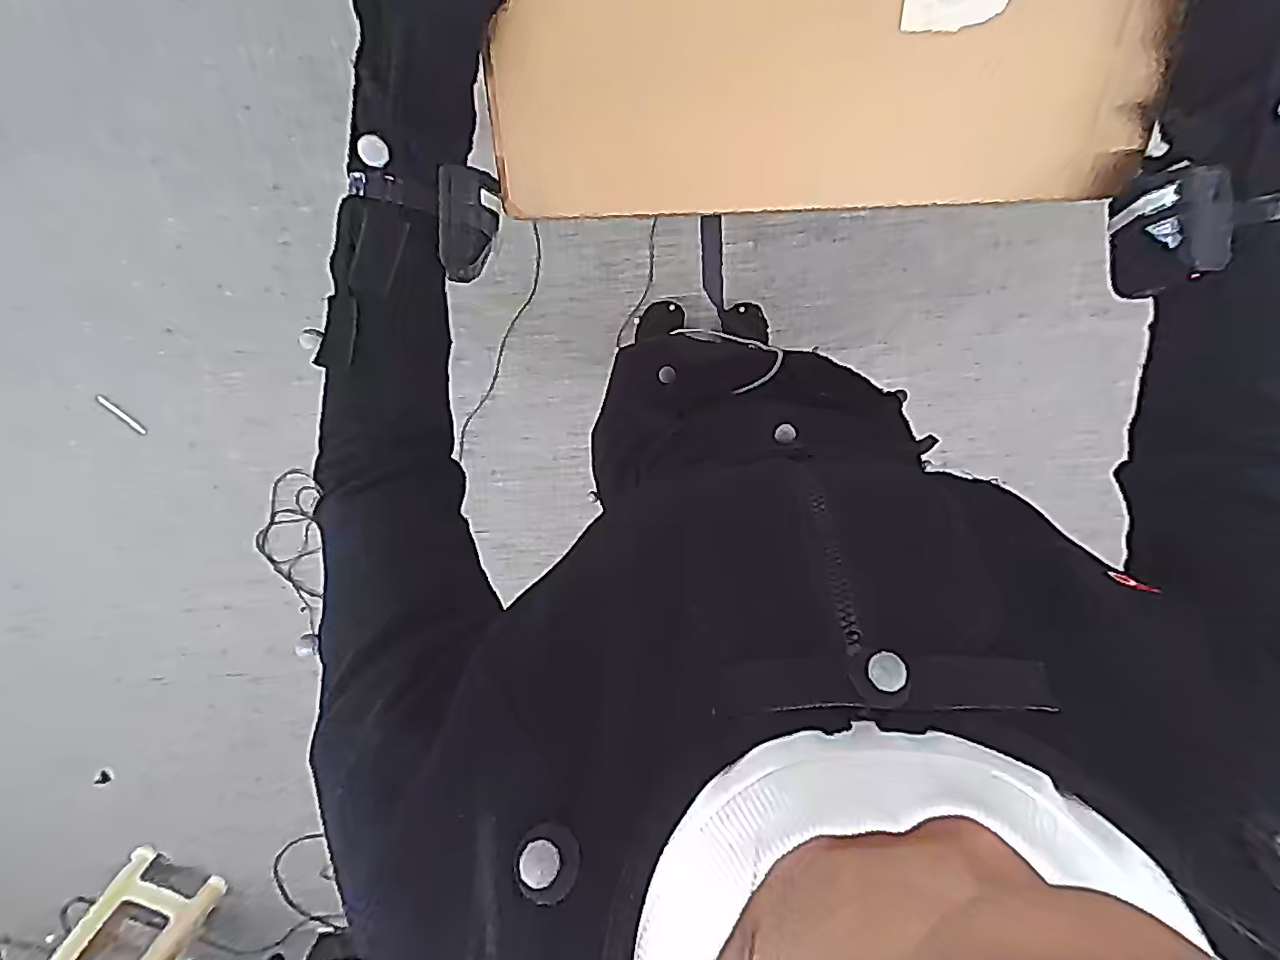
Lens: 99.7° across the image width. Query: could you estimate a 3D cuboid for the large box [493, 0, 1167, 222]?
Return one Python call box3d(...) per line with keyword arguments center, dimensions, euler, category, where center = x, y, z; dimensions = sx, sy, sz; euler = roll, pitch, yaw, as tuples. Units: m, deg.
box3d(center=(0.108, -0.392, 0.430), dimensions=(0.408, 0.320, 0.320), euler=(-2, 118, 2), category="large box")
